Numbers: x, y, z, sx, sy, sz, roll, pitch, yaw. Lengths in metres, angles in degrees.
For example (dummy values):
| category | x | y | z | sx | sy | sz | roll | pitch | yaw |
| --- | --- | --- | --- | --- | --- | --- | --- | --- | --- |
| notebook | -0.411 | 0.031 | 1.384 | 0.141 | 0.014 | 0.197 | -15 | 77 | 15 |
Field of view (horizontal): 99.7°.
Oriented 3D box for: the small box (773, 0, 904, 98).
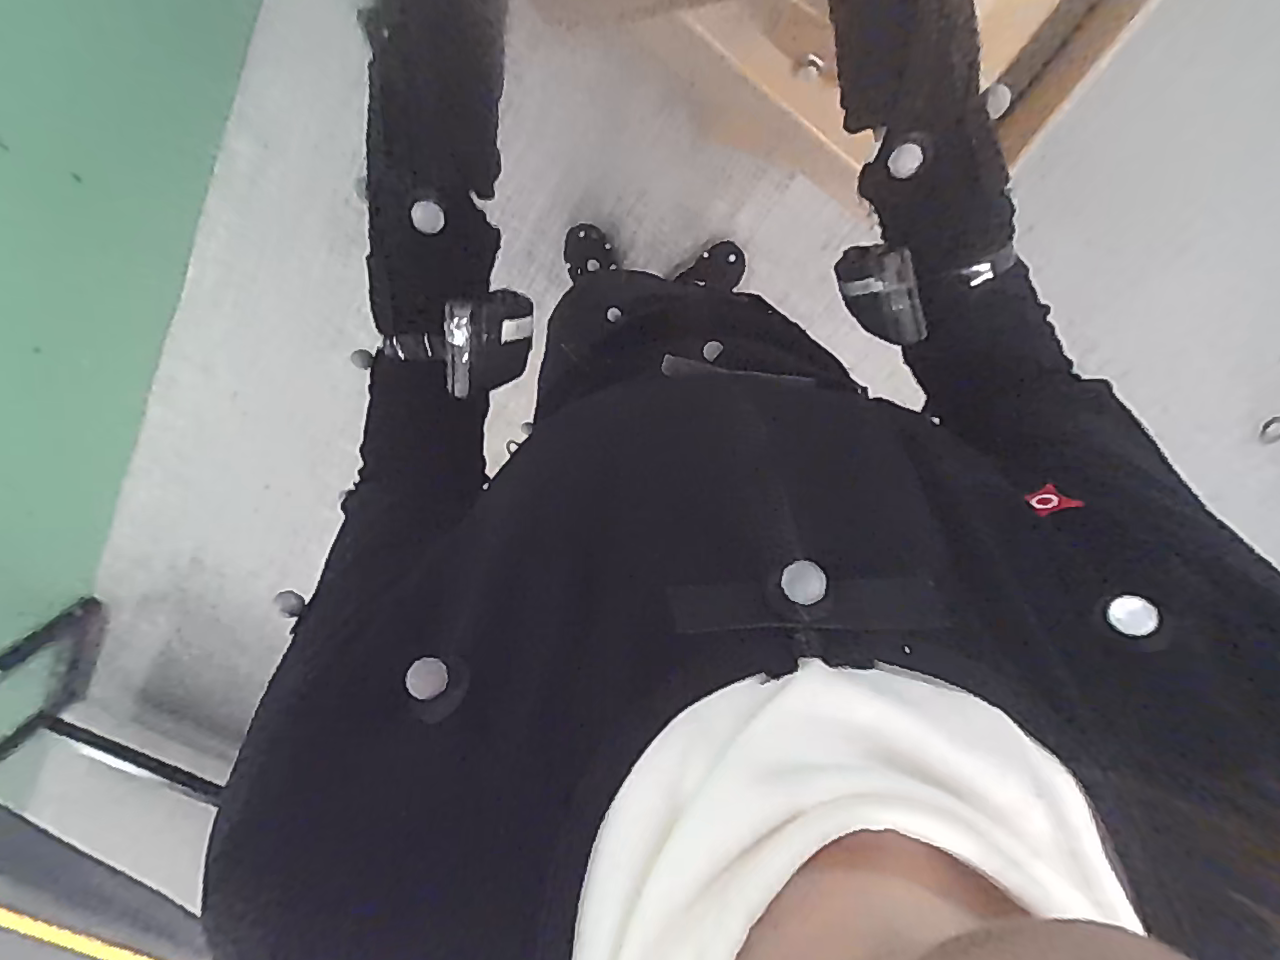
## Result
| category | x | y | z | sx | sy | sz | roll | pitch | yaw |
| --- | --- | --- | --- | --- | --- | --- | --- | --- | --- |
| small box | 0.286 | -0.626 | 0.676 | 0.168 | 0.176 | 0.179 | 27 | 114 | -8 |
